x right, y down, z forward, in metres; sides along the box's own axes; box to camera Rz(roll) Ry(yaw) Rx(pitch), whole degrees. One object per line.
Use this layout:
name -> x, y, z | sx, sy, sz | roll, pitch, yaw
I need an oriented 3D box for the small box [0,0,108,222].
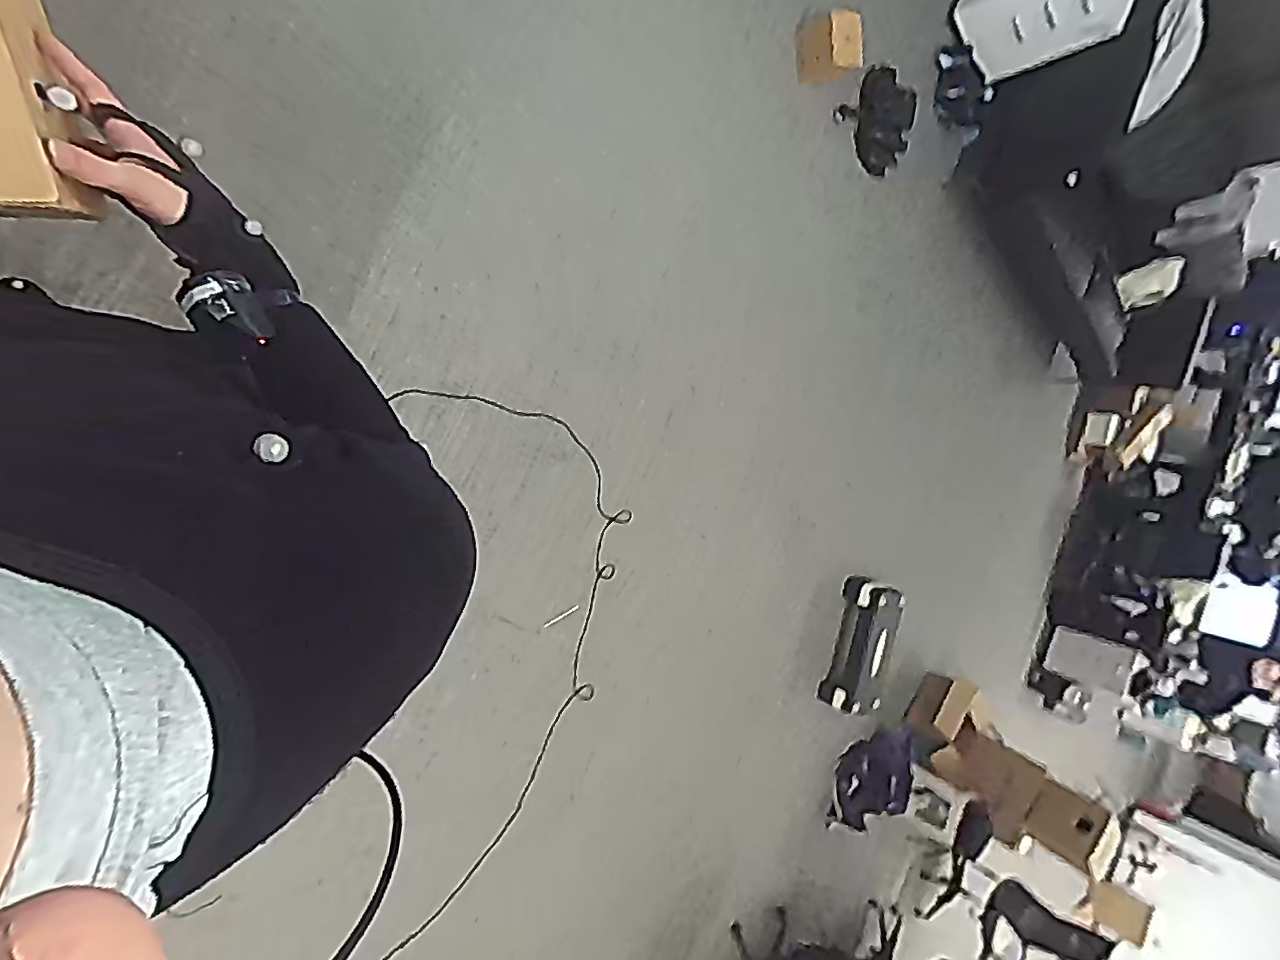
small box -> -0.465, -0.255, 0.326 | 0.168, 0.176, 0.179 | -15, 118, -34
